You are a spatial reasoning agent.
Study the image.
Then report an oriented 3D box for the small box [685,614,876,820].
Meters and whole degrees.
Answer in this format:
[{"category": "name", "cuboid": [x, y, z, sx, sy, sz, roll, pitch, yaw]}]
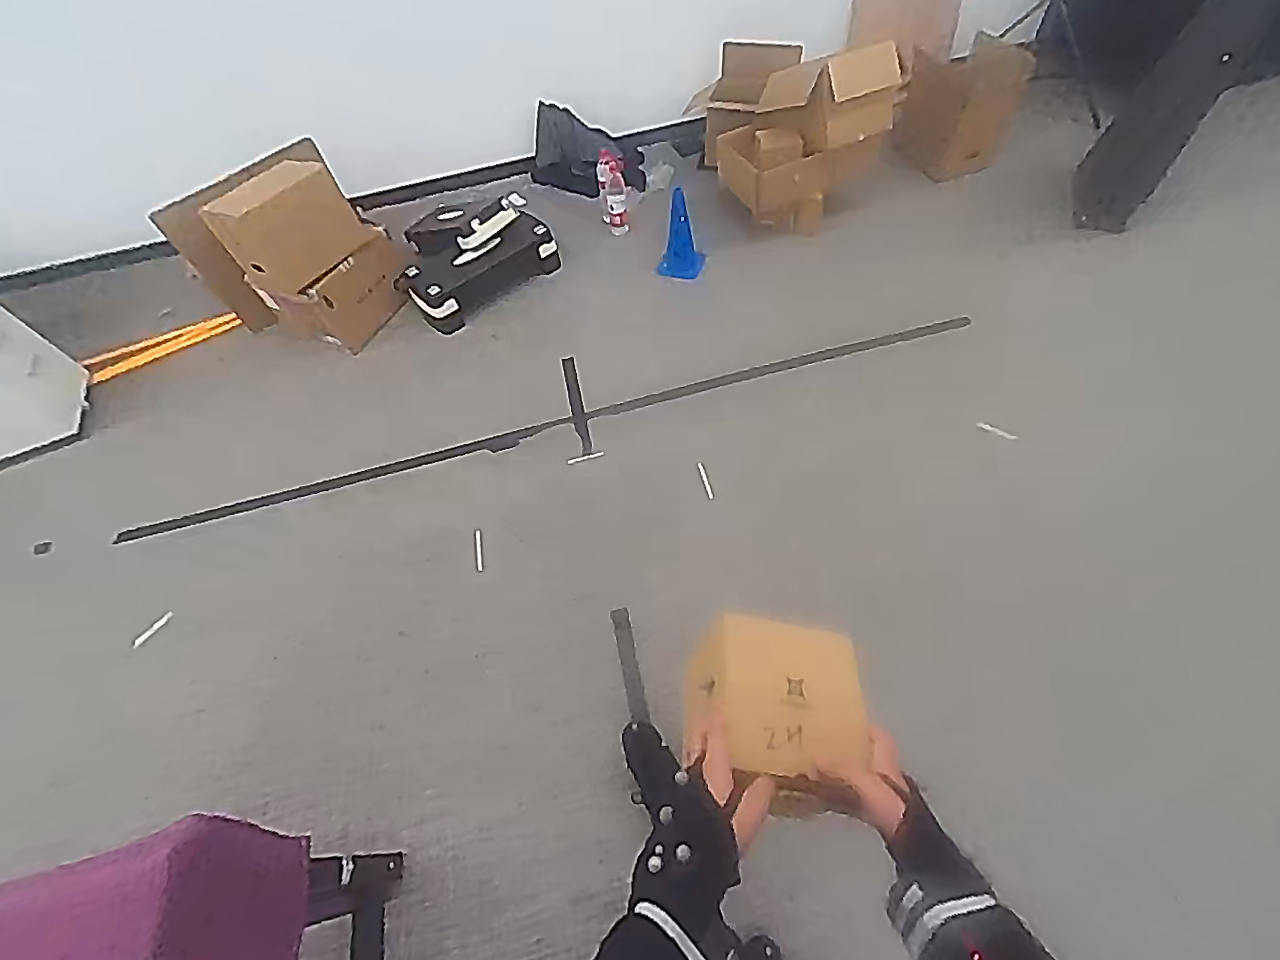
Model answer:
[{"category": "small box", "cuboid": [0.156, 0.293, 0.662, 0.168, 0.176, 0.179, 11, 49, -5]}]
